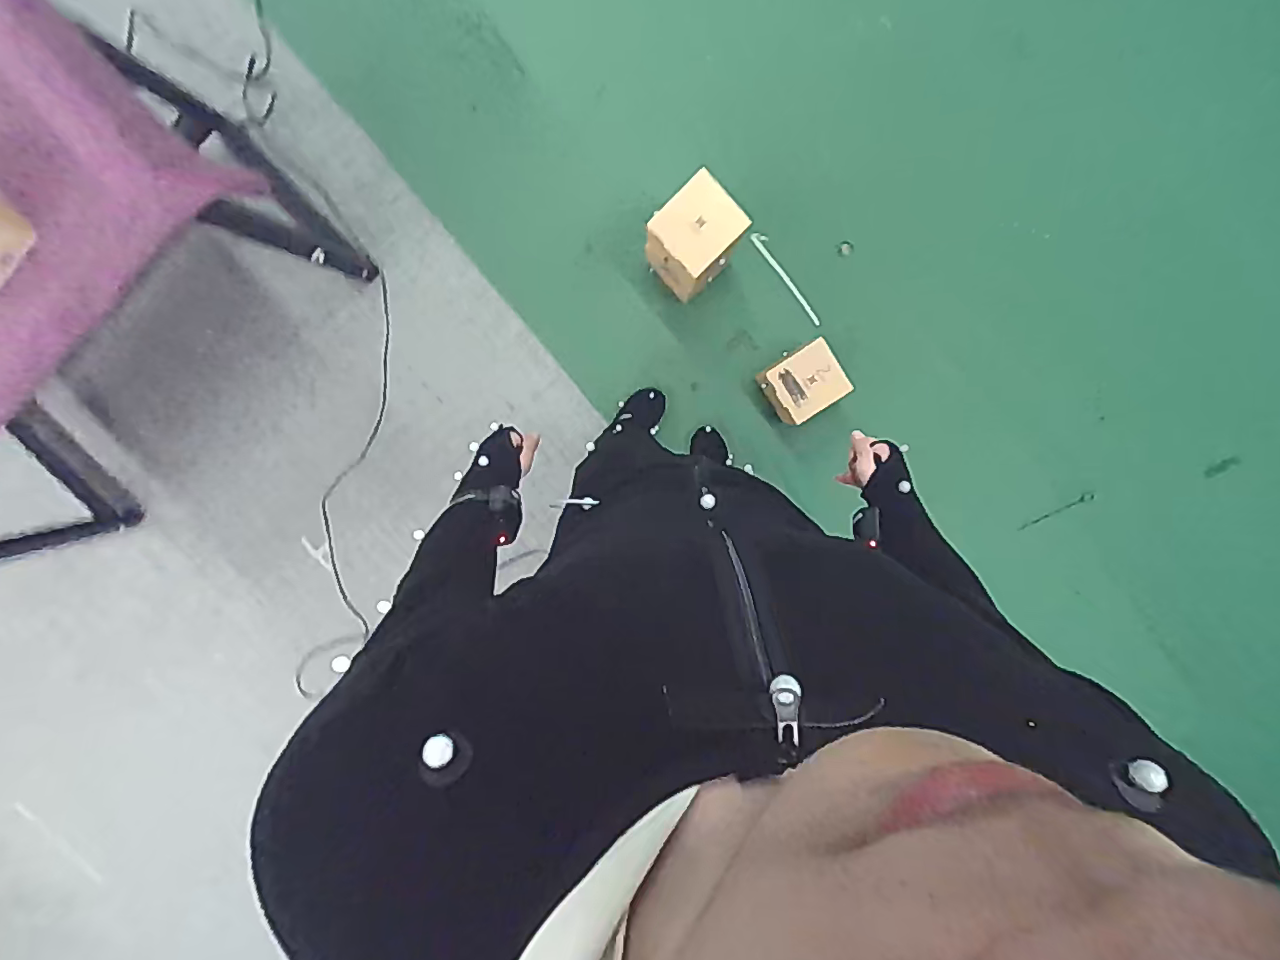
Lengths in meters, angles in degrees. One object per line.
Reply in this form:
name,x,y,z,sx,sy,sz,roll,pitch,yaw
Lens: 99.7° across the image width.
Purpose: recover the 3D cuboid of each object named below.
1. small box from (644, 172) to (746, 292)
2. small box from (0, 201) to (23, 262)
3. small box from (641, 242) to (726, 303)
small box,0.125,-0.582,1.295,0.179,0.176,0.168,-43,95,8
small box,-1.108,-0.407,0.797,0.168,0.176,0.179,-40,94,8
small box,0.122,-0.603,1.456,0.179,0.176,0.168,-42,95,6
